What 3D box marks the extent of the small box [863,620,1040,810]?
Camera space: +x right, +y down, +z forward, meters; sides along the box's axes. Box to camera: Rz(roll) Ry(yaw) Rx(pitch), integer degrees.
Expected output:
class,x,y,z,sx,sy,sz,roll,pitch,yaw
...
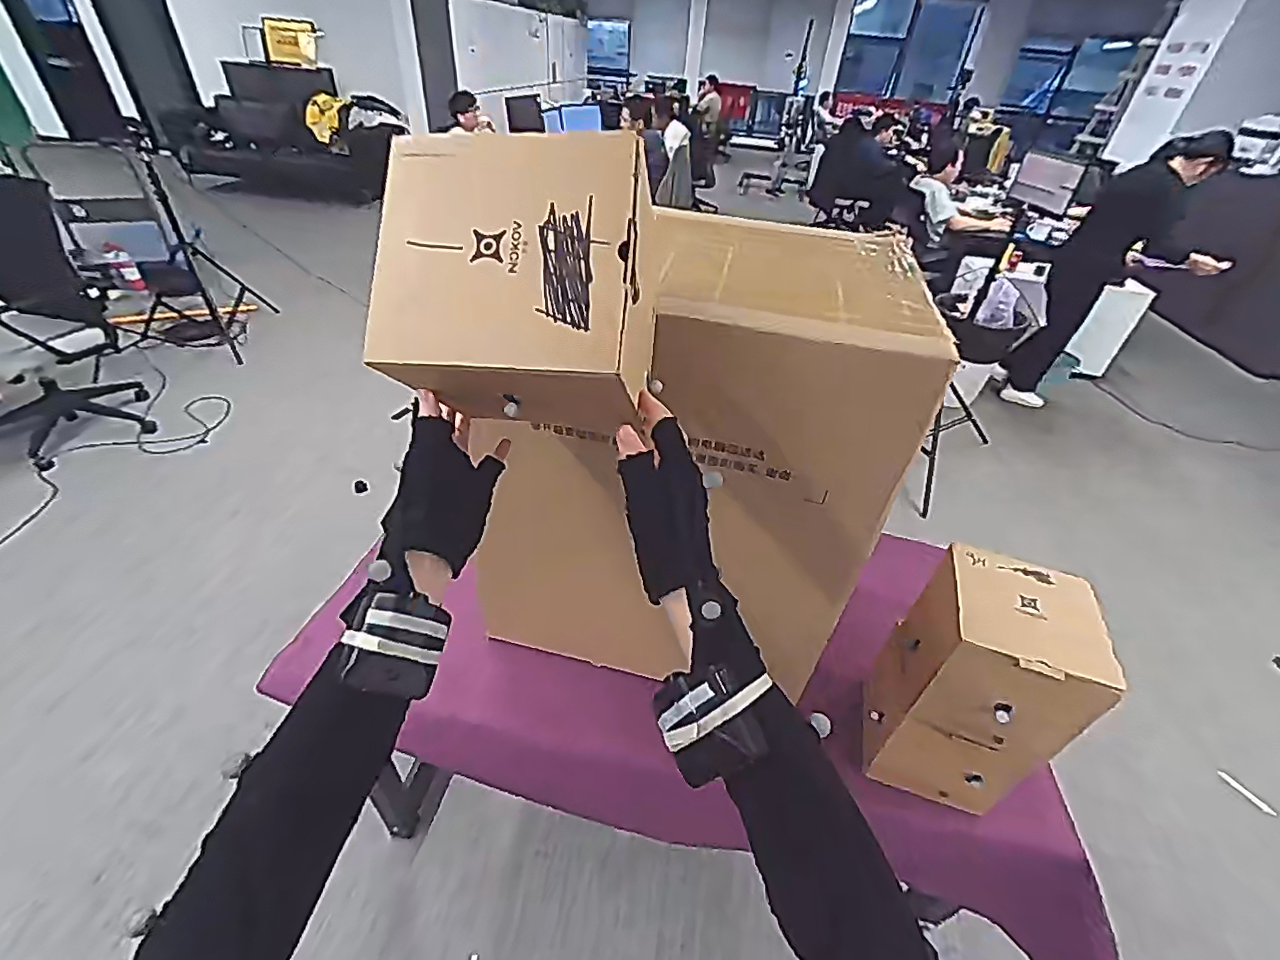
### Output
class,x,y,z,sx,sy,sz,roll,pitch,yaw
small box,0.440,0.346,0.797,0.168,0.176,0.179,15,38,11

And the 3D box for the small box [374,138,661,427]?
class,x,y,z,sx,sy,sz,roll,pitch,yaw
small box,-0.078,-0.142,0.441,0.179,0.168,0.176,4,-7,7

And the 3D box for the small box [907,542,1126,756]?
class,x,y,z,sx,sy,sz,roll,pitch,yaw
small box,0.460,0.217,0.696,0.168,0.176,0.179,17,40,14
